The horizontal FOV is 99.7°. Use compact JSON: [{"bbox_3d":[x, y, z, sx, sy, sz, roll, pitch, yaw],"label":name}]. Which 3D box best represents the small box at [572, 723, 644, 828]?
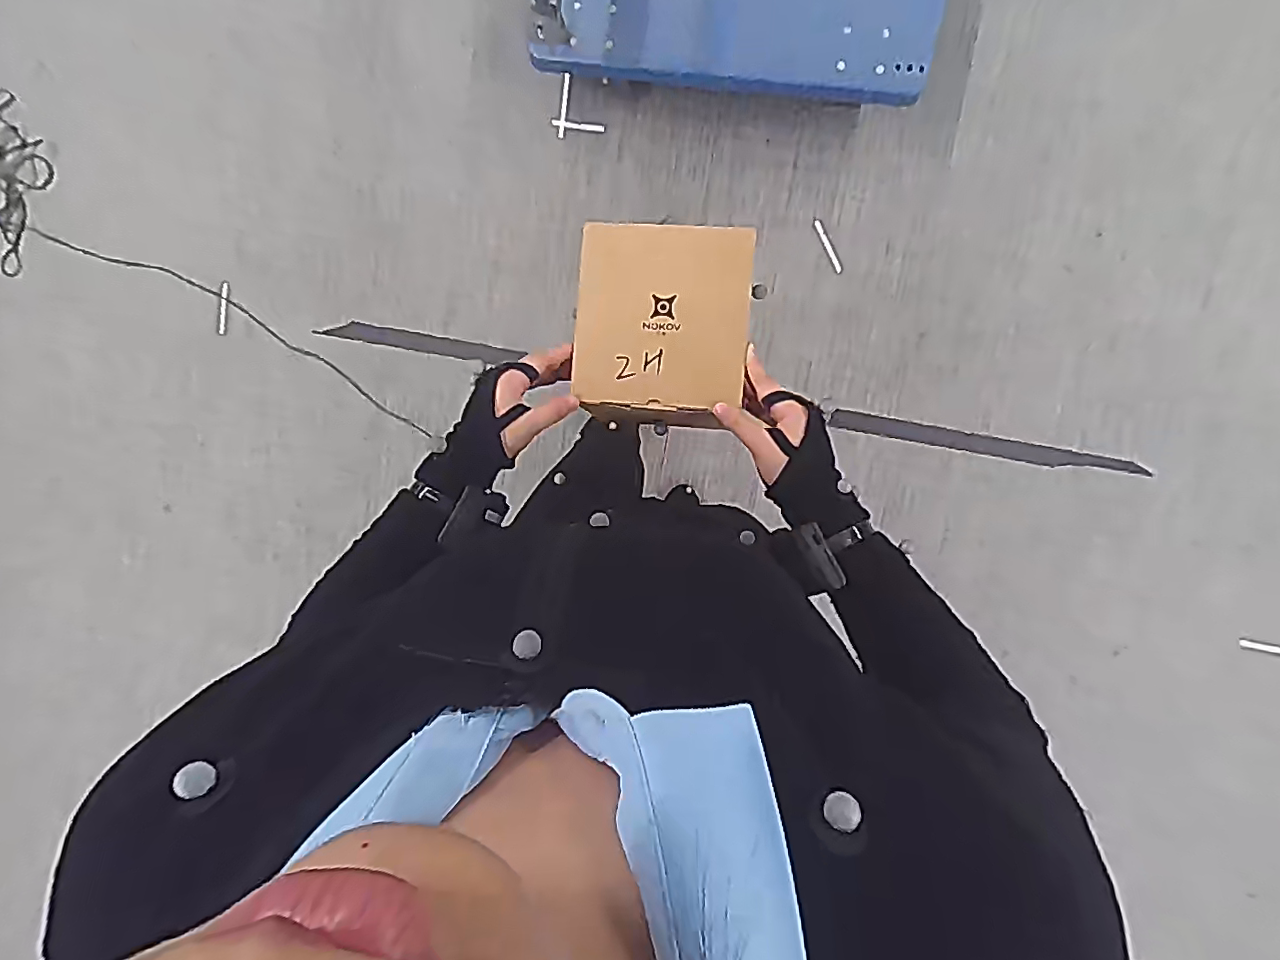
[{"bbox_3d":[-0.081,0.808,1.491,0.168,0.176,0.179,8,97,3],"label":"small box"}]

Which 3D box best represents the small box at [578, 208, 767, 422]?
[{"bbox_3d":[0.037,-0.164,0.583,0.168,0.176,0.179,5,91,7],"label":"small box"}]
